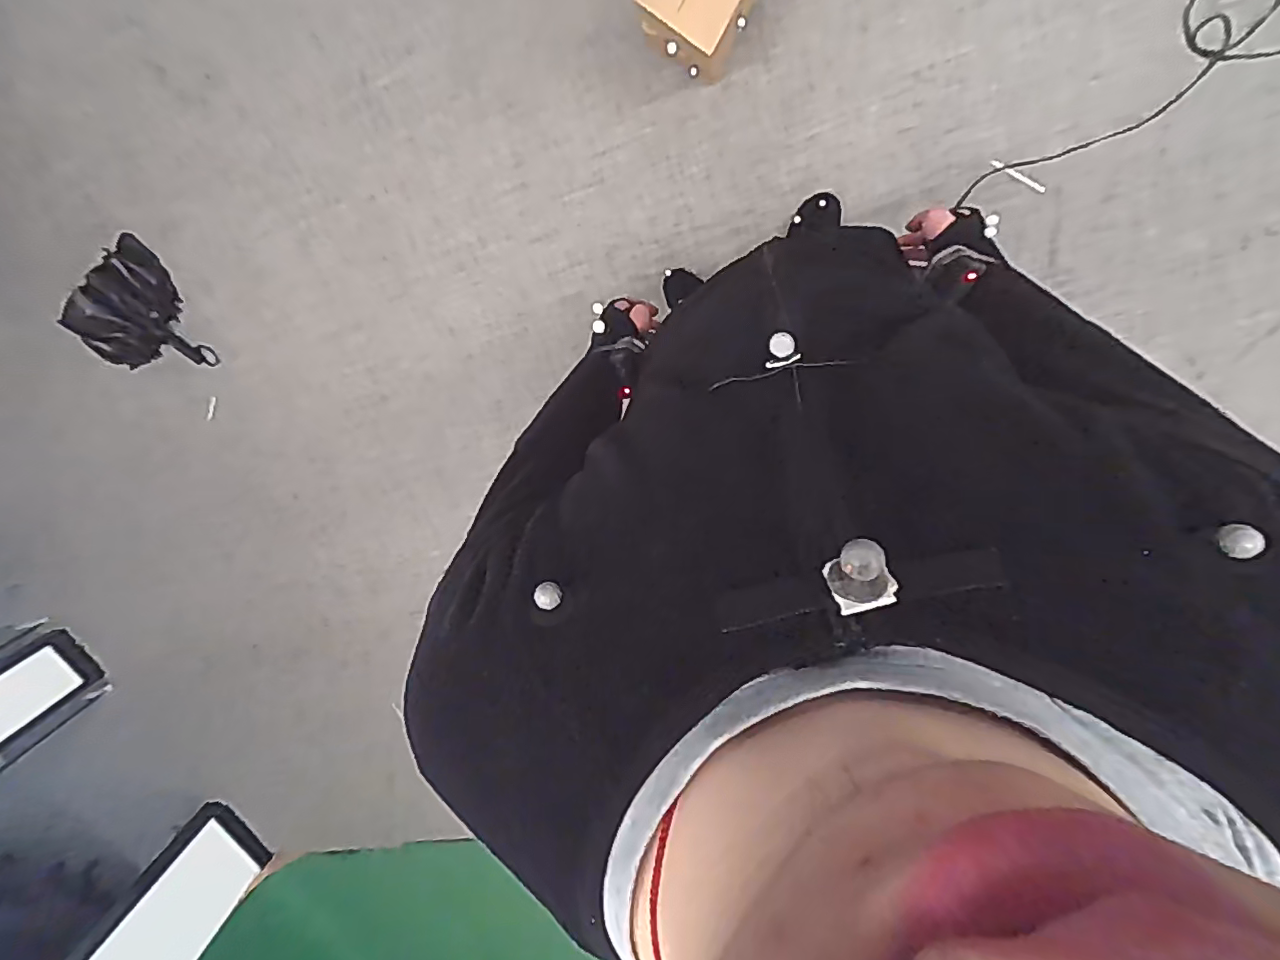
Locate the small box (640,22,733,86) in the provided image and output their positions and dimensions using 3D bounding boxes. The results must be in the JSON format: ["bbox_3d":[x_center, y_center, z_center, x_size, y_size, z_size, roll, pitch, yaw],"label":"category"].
[{"bbox_3d":[0.118,-0.957,1.117,0.168,0.176,0.179,25,116,-4],"label":"small box"}]

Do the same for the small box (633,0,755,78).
[{"bbox_3d":[0.109,-0.876,0.974,0.168,0.176,0.179,32,118,-7],"label":"small box"}]
